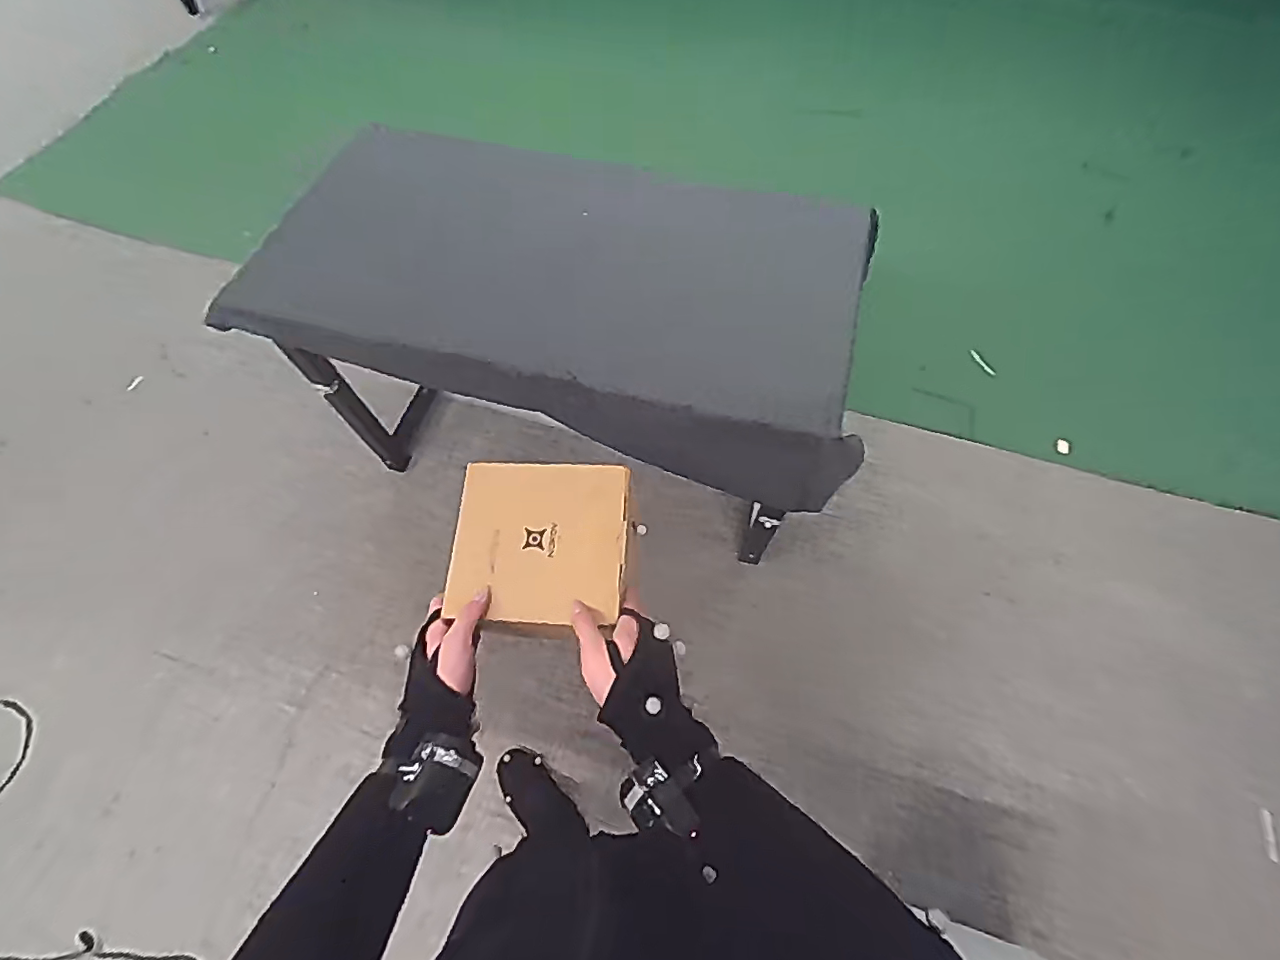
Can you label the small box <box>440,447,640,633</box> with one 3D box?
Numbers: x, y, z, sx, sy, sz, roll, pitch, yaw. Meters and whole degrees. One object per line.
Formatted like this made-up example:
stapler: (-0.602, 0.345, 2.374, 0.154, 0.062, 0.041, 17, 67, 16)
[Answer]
small box: (-0.093, 0.074, 0.604, 0.179, 0.176, 0.168, 1, 67, 5)
